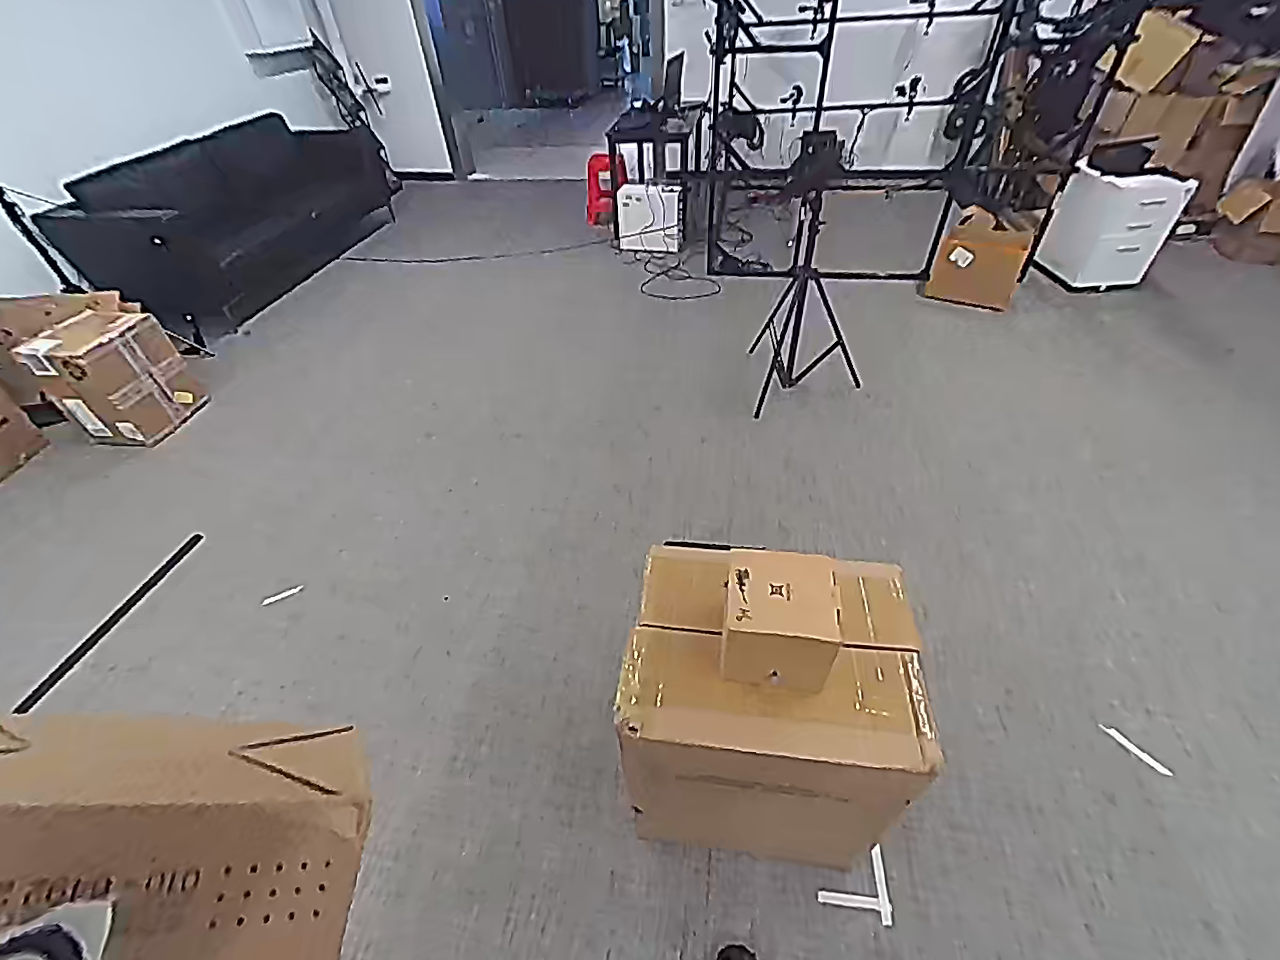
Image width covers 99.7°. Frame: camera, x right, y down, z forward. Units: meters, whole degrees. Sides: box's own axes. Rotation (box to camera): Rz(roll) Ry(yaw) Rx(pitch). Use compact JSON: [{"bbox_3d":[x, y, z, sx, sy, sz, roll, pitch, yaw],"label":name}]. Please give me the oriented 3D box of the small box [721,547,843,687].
[{"bbox_3d":[0.237,0.239,0.935,0.179,0.176,0.168,4,44,9],"label":"small box"}]
